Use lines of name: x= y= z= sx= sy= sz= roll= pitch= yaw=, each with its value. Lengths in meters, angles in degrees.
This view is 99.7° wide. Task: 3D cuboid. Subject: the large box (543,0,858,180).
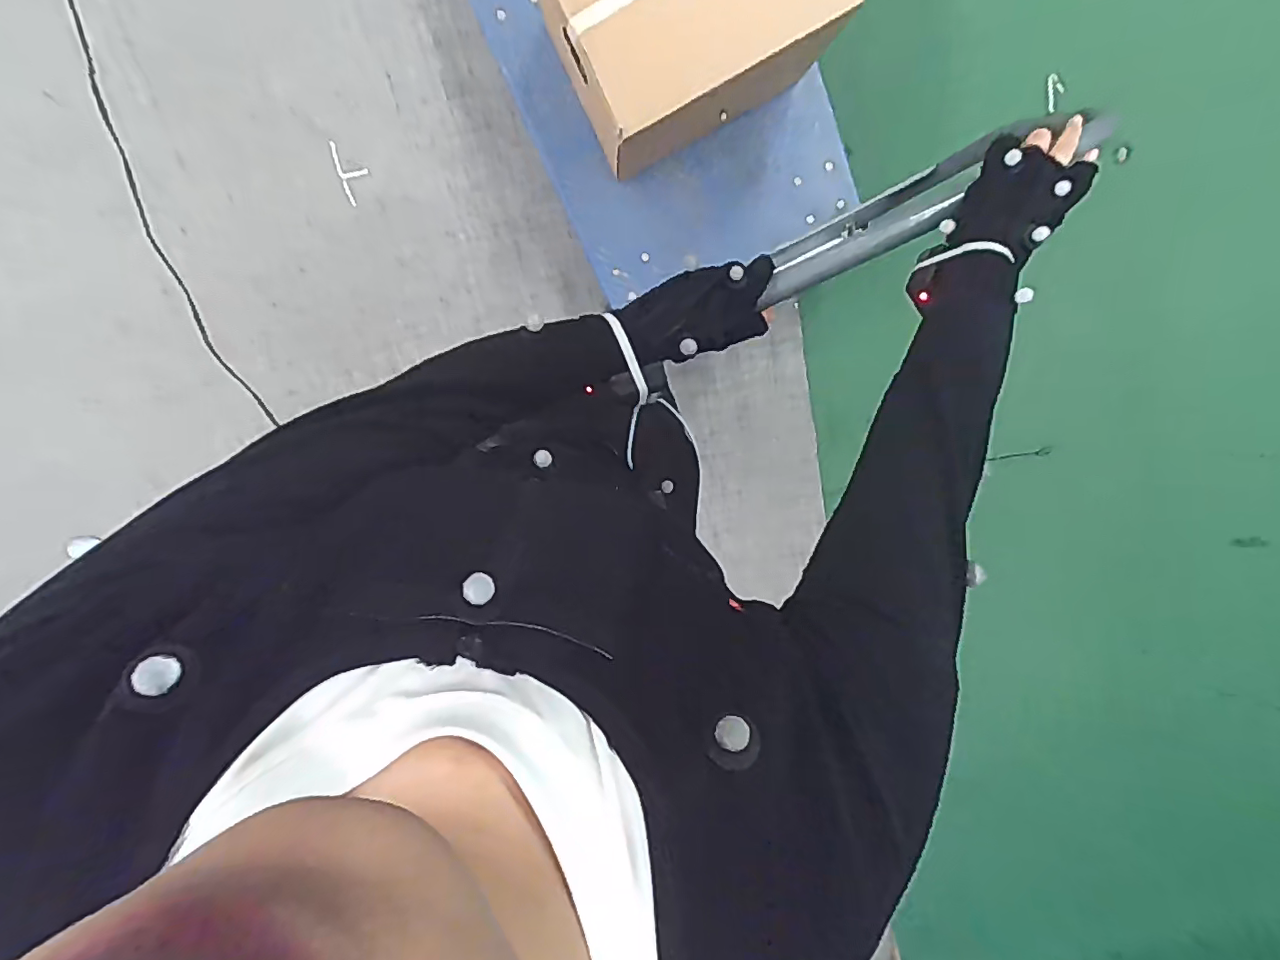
large box: x=0.078 y=-0.790 z=0.921 sx=0.408 sy=0.320 sz=0.320 roll=-27 pitch=107 yaw=6
